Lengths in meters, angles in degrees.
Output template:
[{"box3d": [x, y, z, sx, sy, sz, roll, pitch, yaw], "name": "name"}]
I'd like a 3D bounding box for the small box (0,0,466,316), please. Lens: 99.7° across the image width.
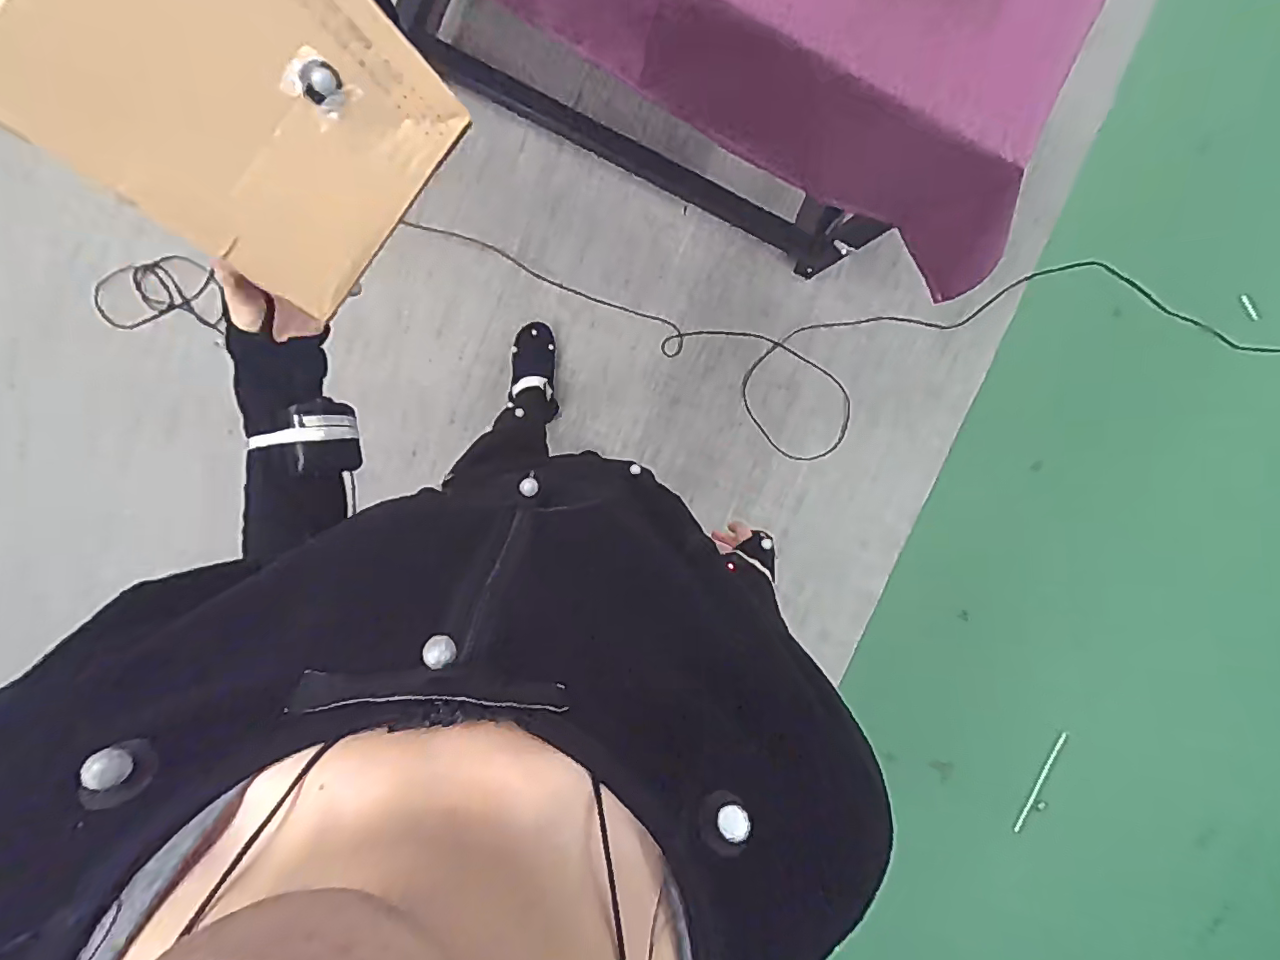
[{"box3d": [-0.246, -0.238, 0.351, 0.168, 0.179, 0.176, 36, 85, -47], "name": "small box"}]
